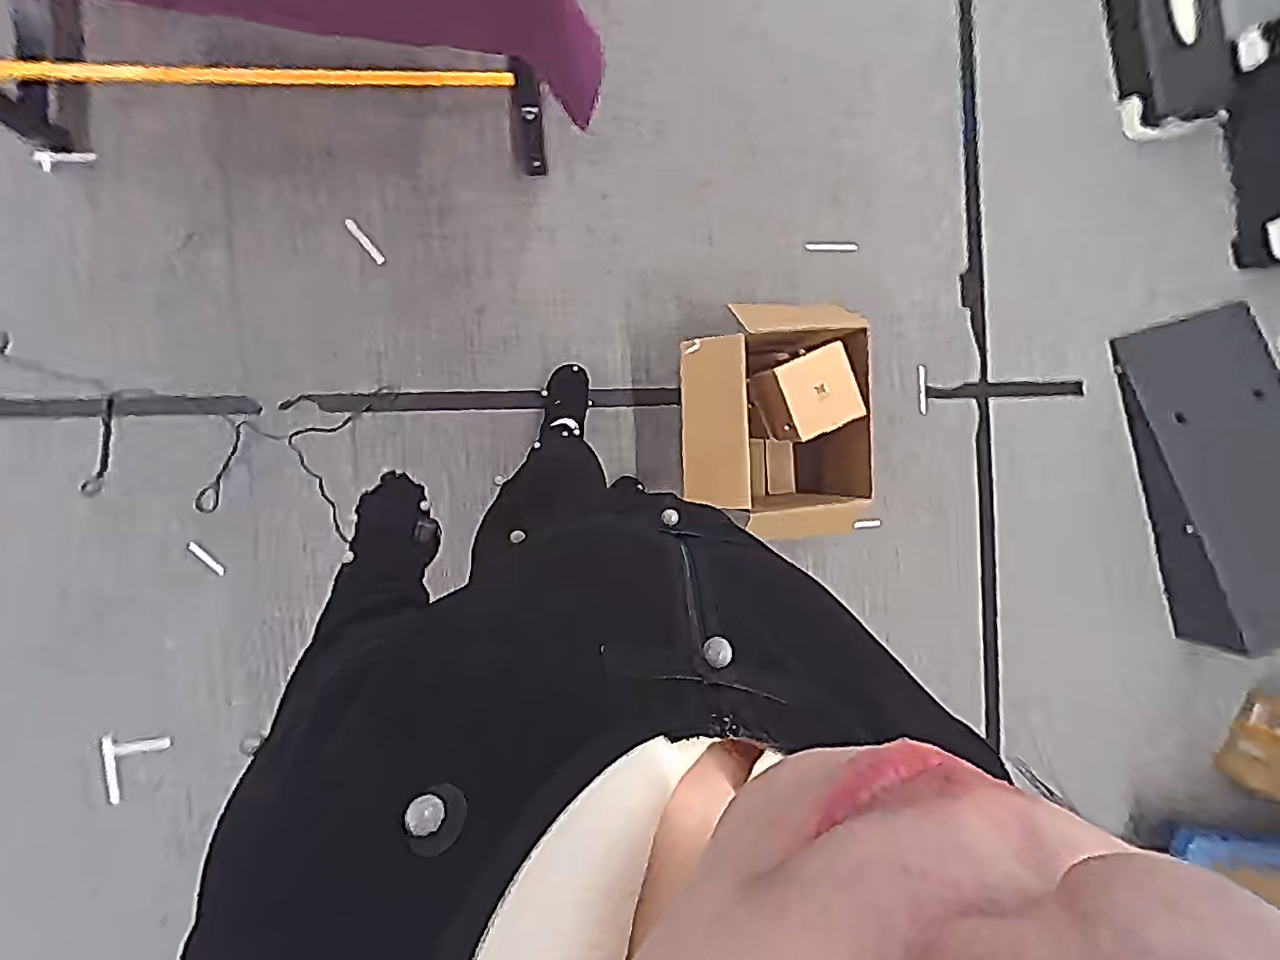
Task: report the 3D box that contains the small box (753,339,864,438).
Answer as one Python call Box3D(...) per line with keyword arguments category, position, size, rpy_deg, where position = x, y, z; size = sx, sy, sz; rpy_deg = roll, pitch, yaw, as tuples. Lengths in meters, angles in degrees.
Box3D(category="small box", position=(0.387, -0.209, 1.273), size=(0.168, 0.176, 0.179), rpy_deg=(-24, 99, -4))
